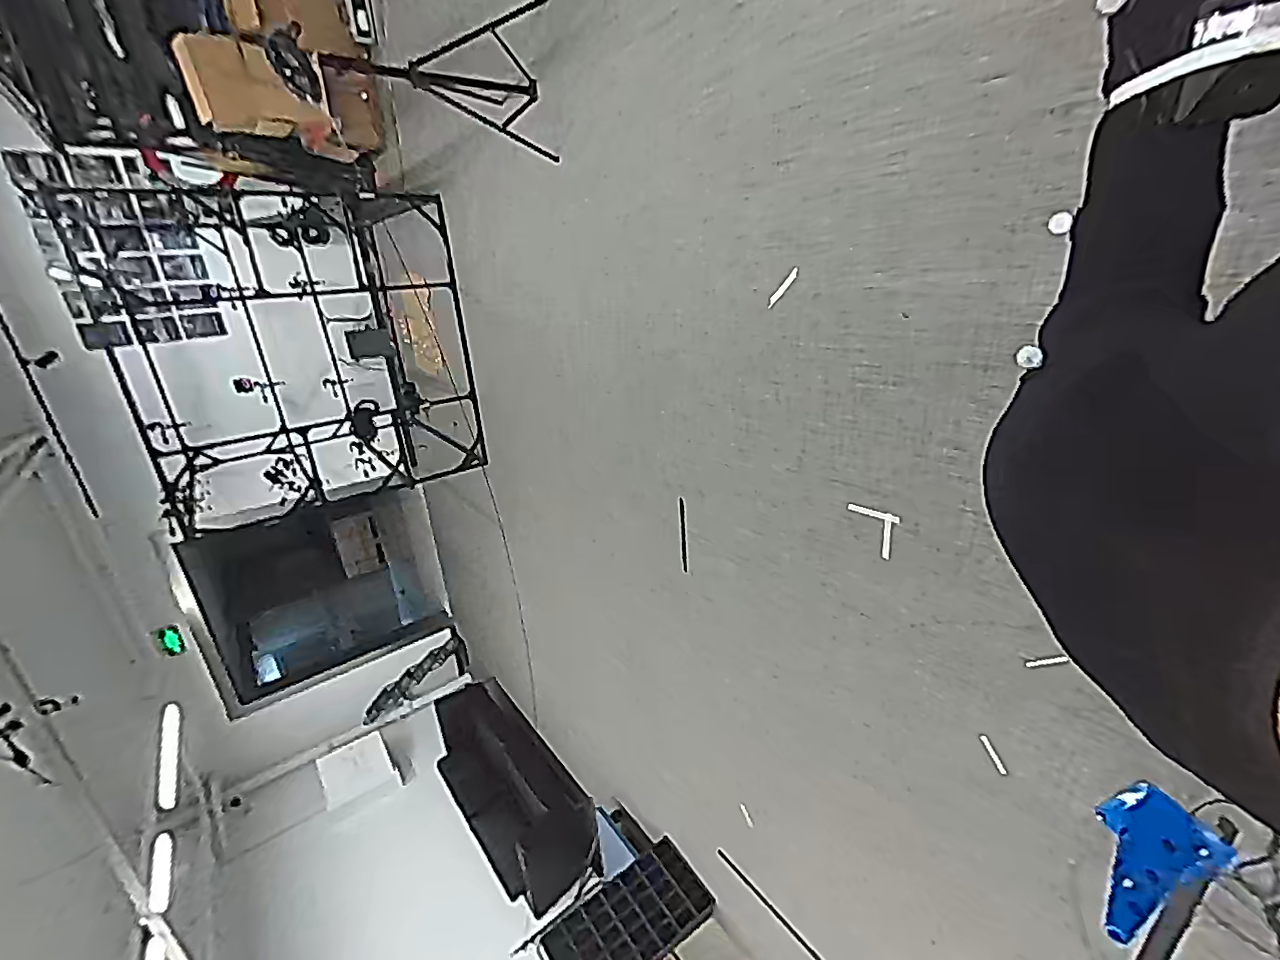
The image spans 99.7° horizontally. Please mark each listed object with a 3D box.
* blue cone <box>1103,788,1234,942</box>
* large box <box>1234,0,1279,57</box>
[{"bbox_3d":[1.163,0.913,1.245,0.193,0.380,0.192,46,140,35],"label":"blue cone"},{"bbox_3d":[0.580,-0.460,0.228,0.408,0.320,0.320,12,118,51],"label":"large box"}]
